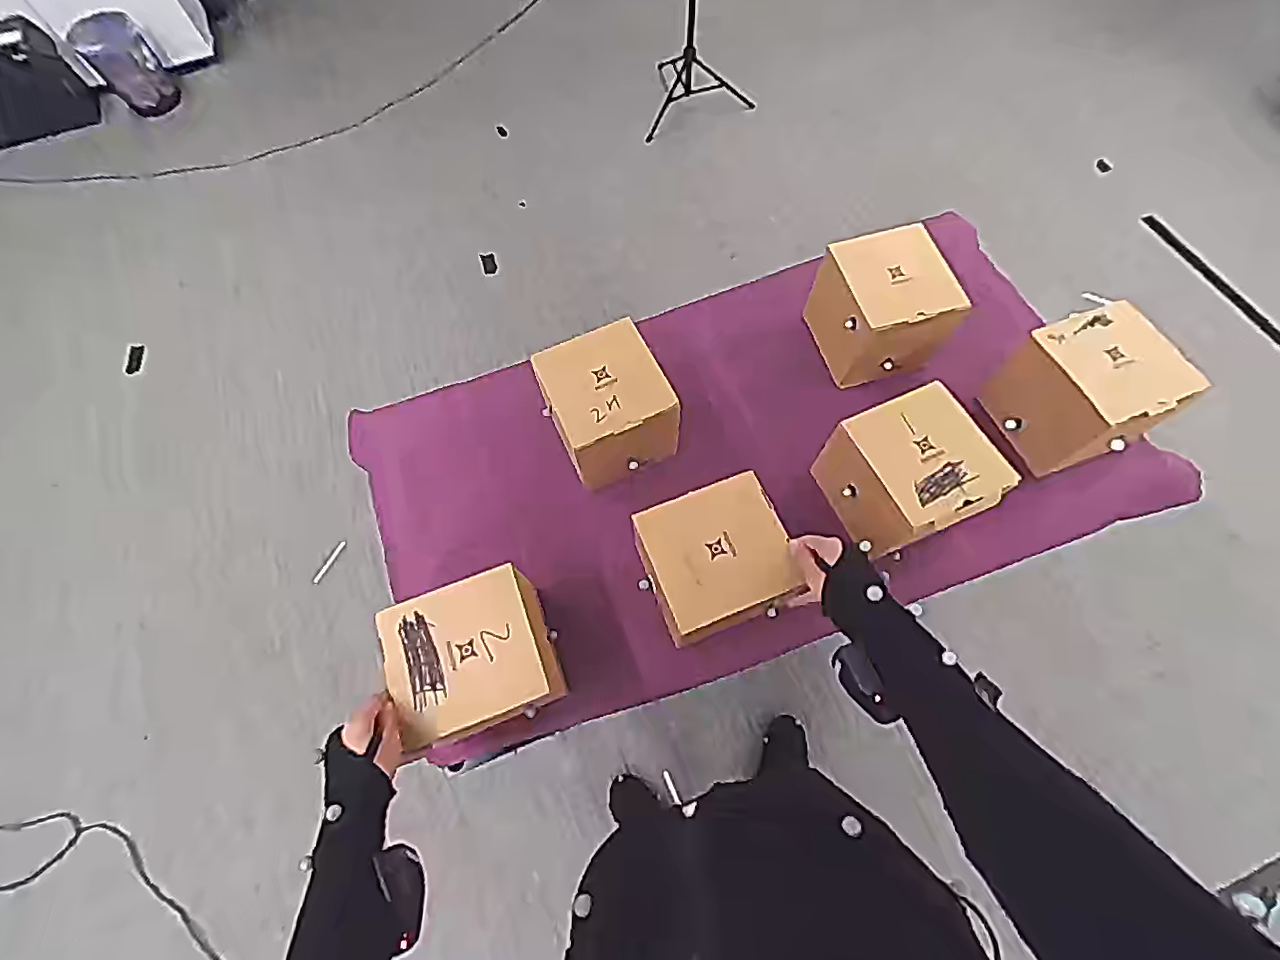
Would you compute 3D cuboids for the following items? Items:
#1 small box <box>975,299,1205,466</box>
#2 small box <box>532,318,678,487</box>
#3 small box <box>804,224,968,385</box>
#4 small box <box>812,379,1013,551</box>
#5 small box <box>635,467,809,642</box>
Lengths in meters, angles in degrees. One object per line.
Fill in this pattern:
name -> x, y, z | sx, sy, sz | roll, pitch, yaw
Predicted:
small box -> 0.675, -0.139, 0.837 | 0.168, 0.176, 0.179 | -19, 66, -5
small box -> -0.053, -0.116, 0.859 | 0.168, 0.176, 0.179 | -24, 69, -8
small box -> 0.400, -0.291, 0.918 | 0.168, 0.176, 0.179 | -15, 69, -4
small box -> 0.382, -0.010, 0.795 | 0.168, 0.176, 0.179 | -22, 67, -7
small box -> 0.101, 0.110, 0.754 | 0.179, 0.176, 0.168 | -21, 67, -7
